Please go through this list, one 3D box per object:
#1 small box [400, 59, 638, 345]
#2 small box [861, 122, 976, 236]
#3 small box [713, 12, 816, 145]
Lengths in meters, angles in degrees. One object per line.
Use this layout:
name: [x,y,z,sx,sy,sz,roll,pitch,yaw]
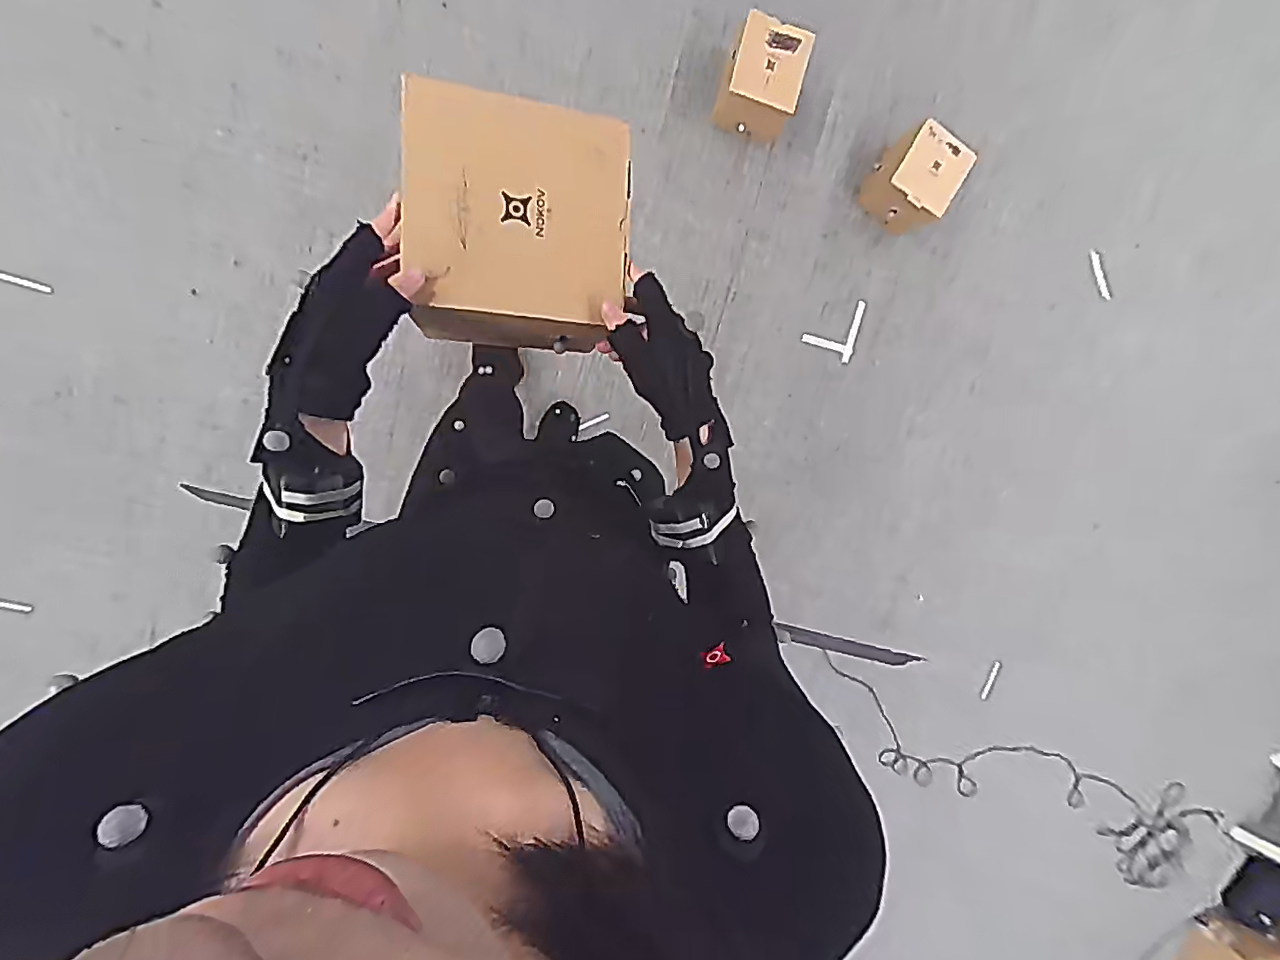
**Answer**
small box: [-0.110,-0.221,0.487,0.179,0.176,0.168,1,94,-15]
small box: [0.709,-0.768,1.404,0.168,0.176,0.179,30,96,-13]
small box: [0.291,-0.957,1.306,0.168,0.176,0.179,13,100,-10]
